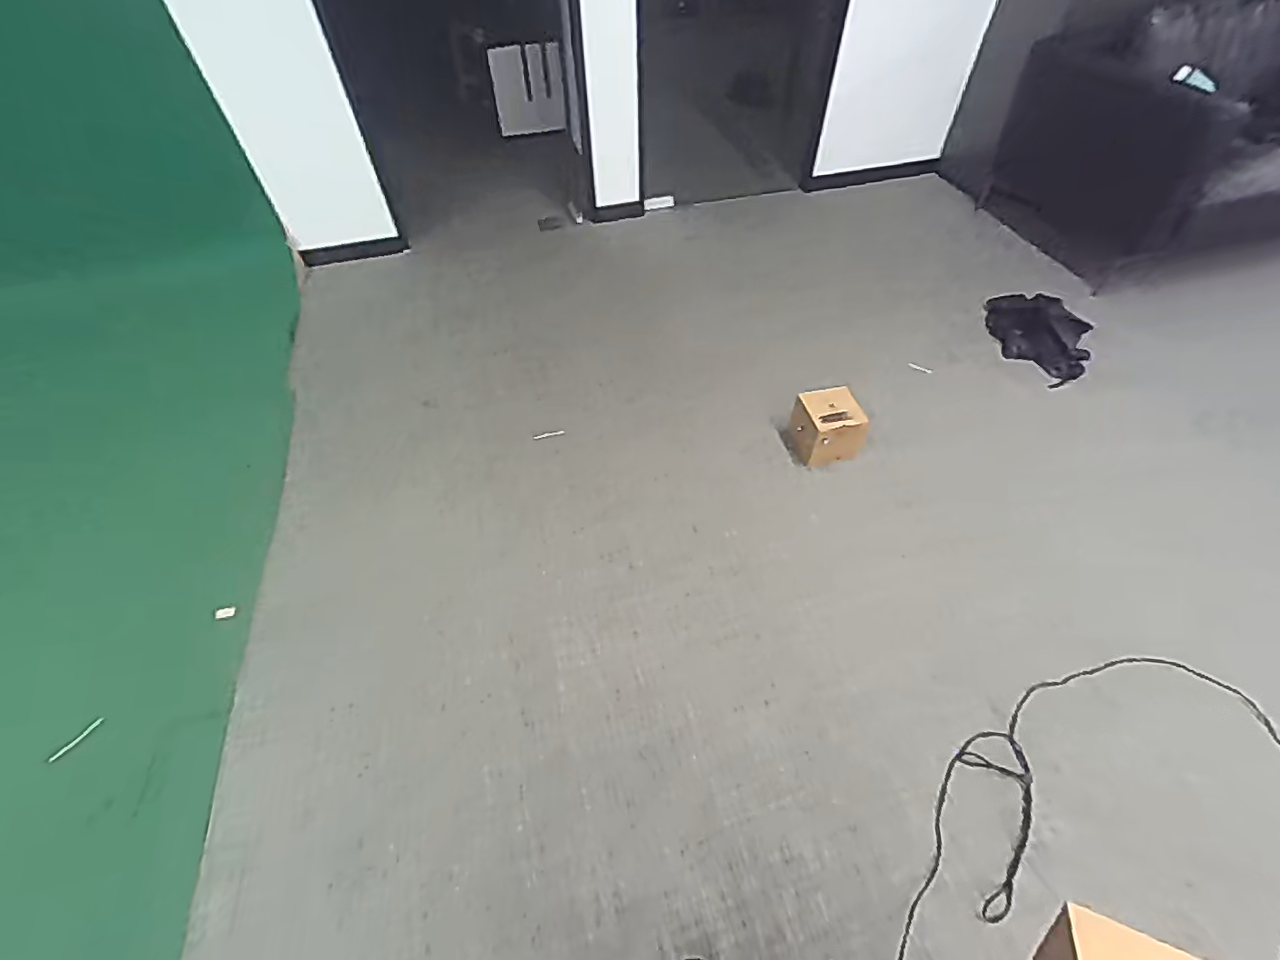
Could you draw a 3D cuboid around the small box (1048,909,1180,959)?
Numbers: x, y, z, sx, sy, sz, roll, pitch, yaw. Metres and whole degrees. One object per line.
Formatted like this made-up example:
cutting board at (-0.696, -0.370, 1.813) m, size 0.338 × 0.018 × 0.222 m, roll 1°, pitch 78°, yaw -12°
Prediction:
small box at (0.467, 0.559, 0.482) m, size 0.168 × 0.176 × 0.179 m, roll 15°, pitch 25°, yaw 24°
